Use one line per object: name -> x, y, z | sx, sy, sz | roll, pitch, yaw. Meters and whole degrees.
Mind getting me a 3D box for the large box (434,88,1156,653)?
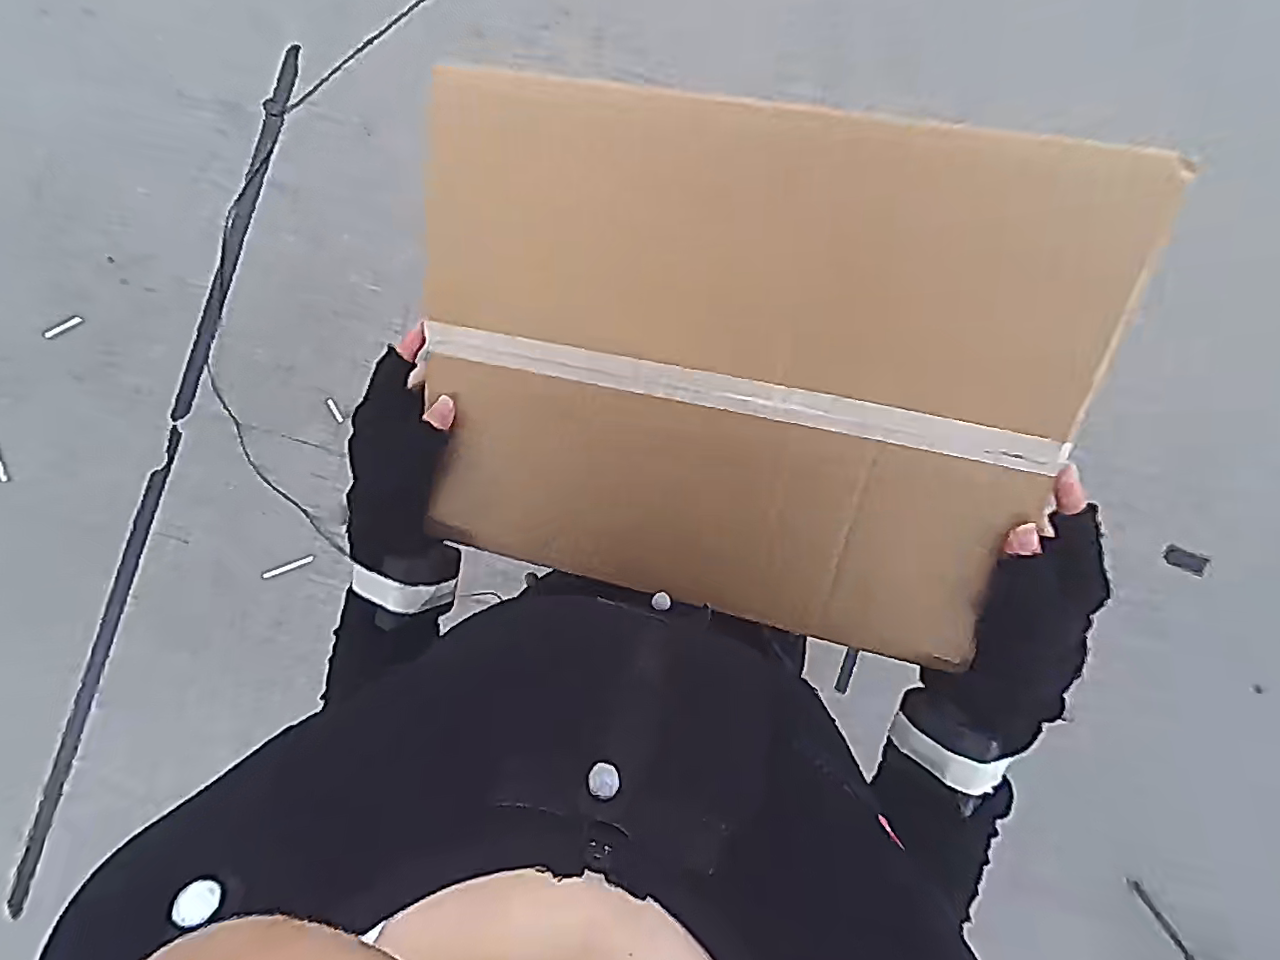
large box -> 0.078, -0.105, 0.490 | 0.408, 0.320, 0.320 | 13, 112, 8
